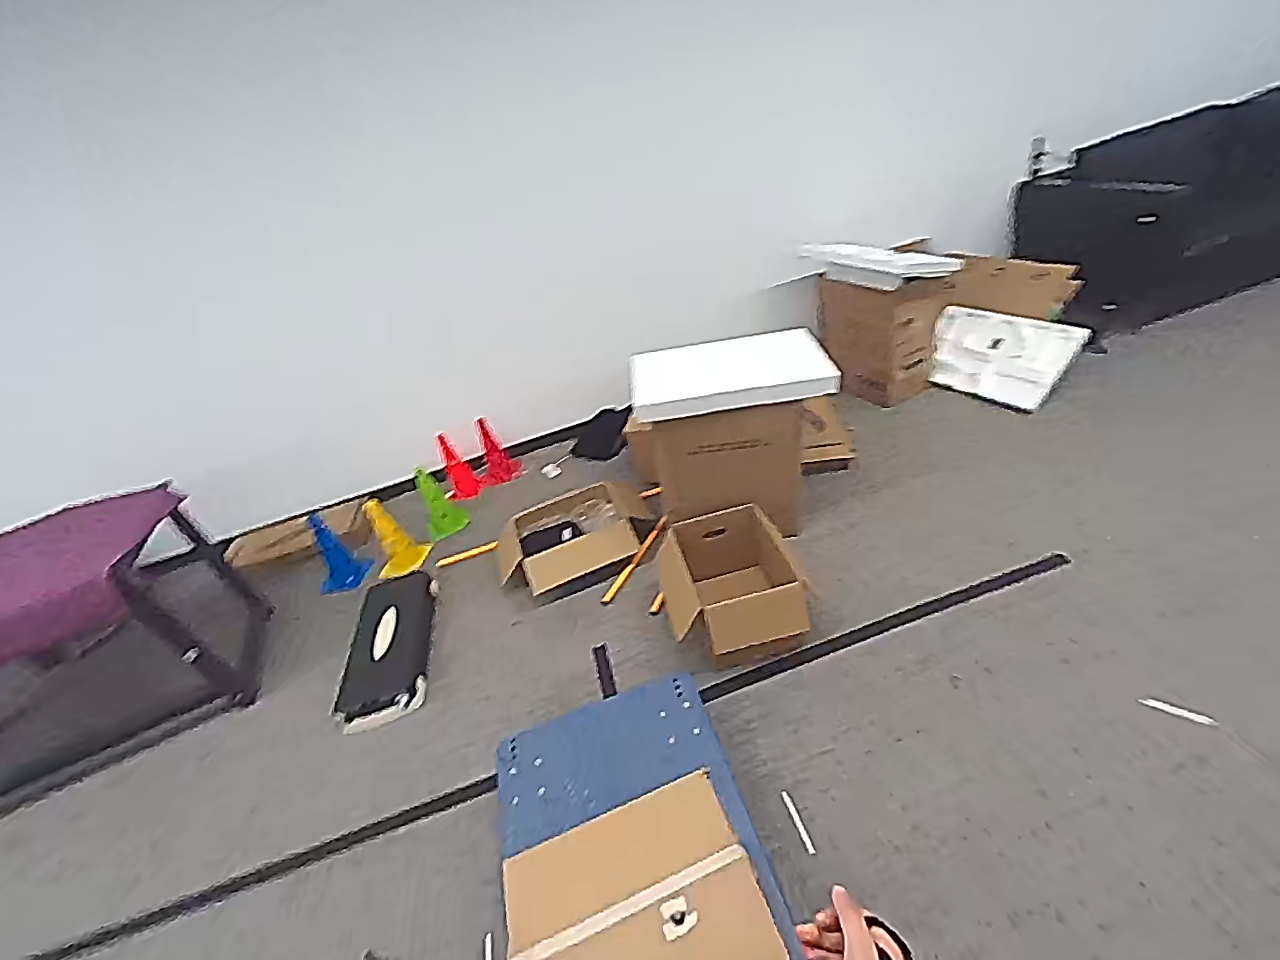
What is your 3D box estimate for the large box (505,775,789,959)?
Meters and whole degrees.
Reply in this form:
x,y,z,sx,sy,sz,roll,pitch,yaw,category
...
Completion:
x,y,z,sx,sy,sz,roll,pitch,yaw,category
0.016,0.828,0.962,0.408,0.320,0.320,-20,34,-11,large box
